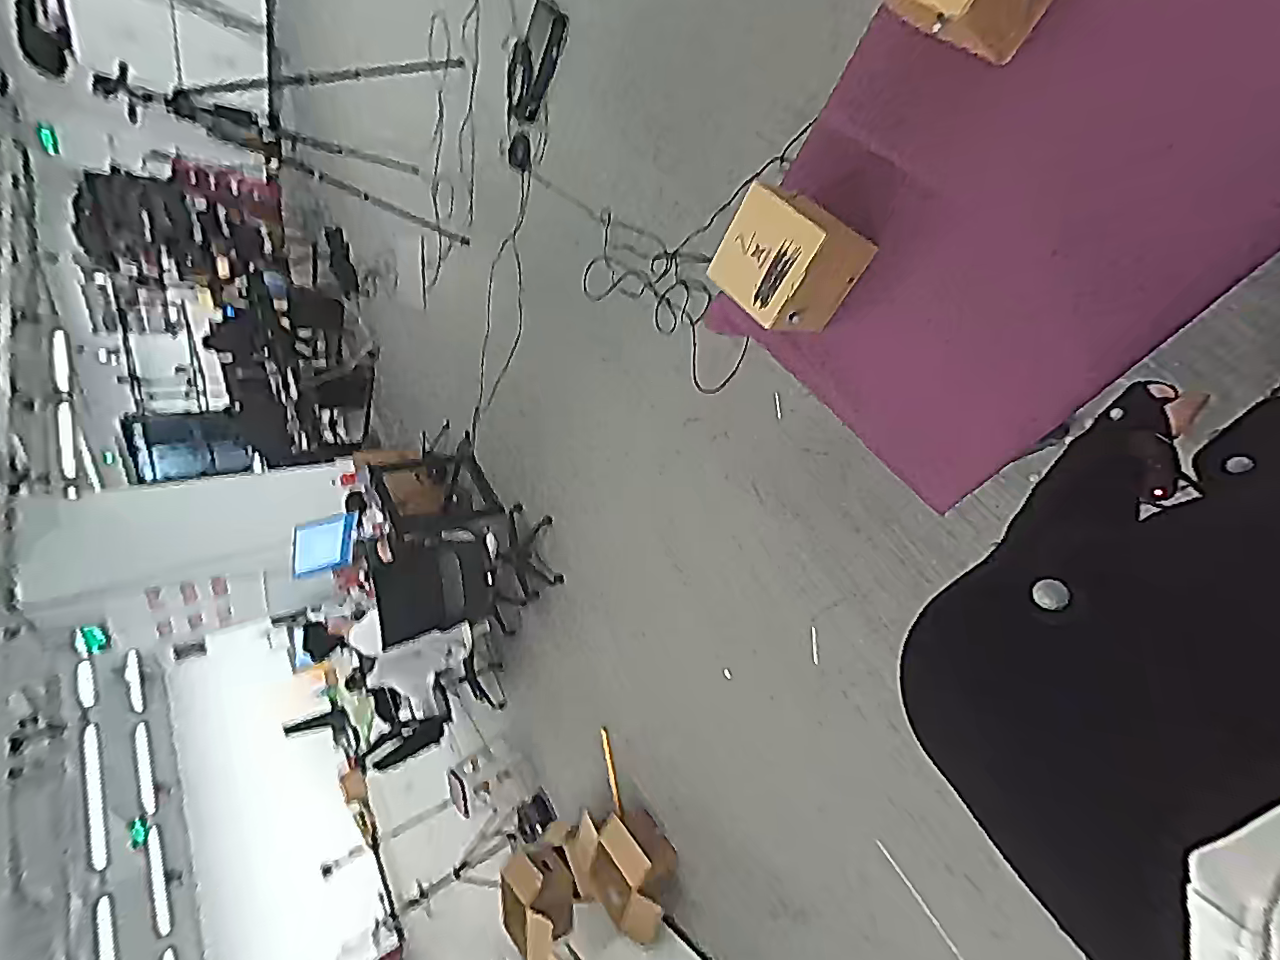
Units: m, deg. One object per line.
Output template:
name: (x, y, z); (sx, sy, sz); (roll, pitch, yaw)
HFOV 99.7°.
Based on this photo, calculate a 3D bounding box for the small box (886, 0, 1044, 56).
small box: (0.414, -0.669, 0.670); (0.179, 0.176, 0.168); (52, 133, 26)
